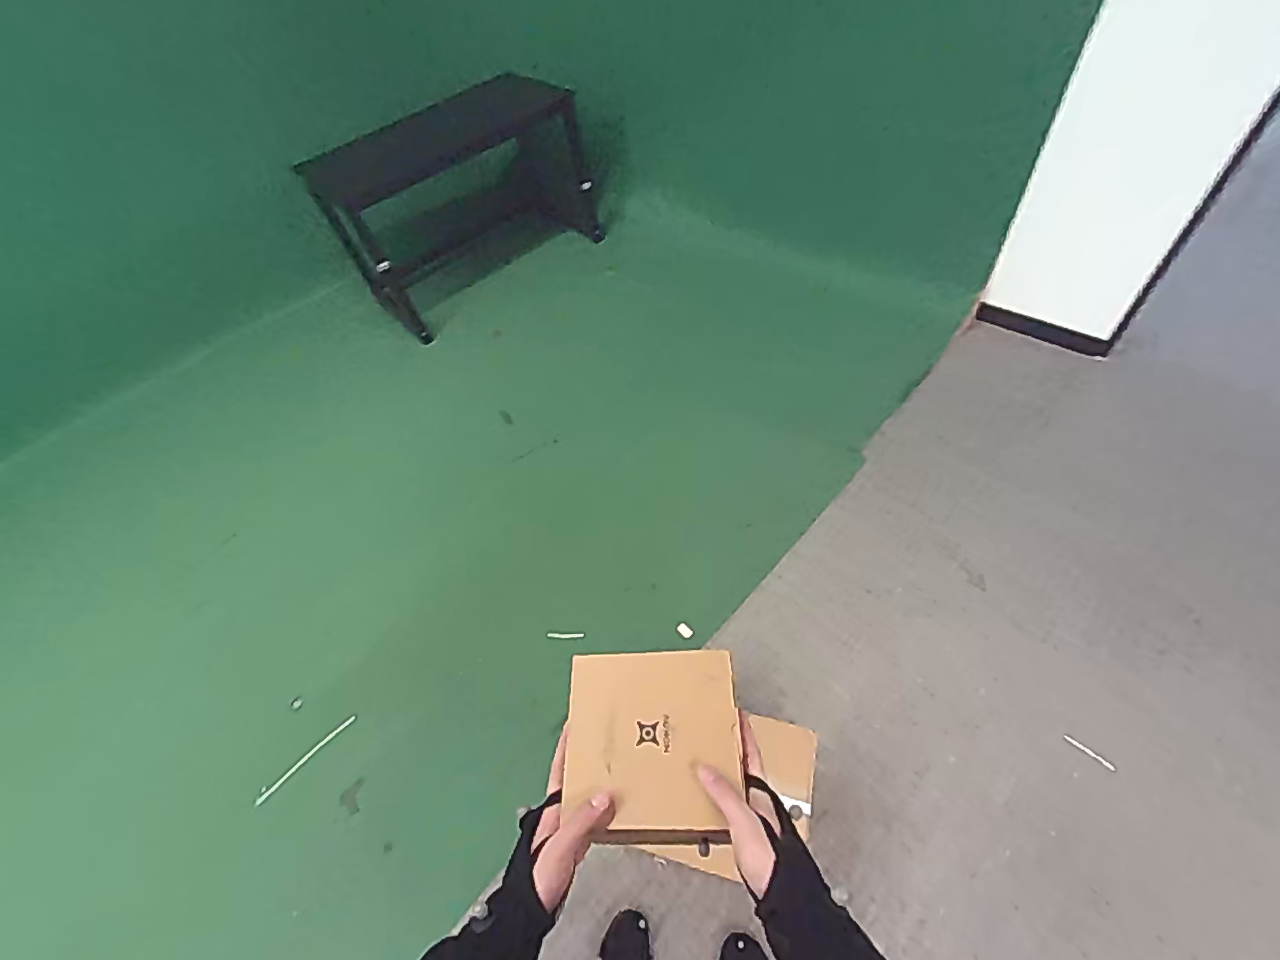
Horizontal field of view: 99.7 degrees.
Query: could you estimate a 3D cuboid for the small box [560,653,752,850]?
[{"bbox_3d":[0.023,0.300,0.594,0.179,0.176,0.168,-4,52,6],"label":"small box"}]
